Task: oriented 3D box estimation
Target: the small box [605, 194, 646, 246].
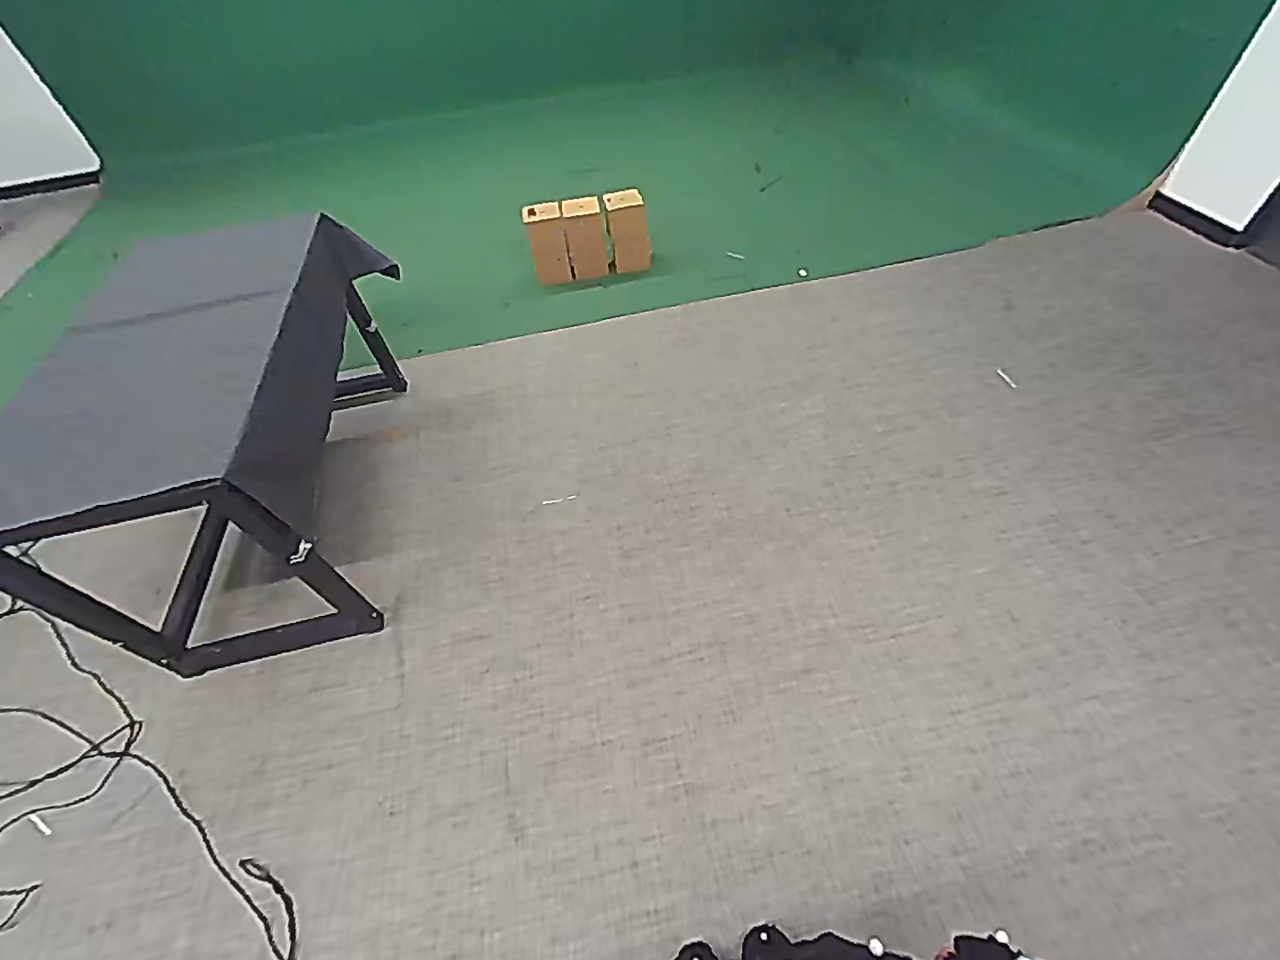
[{"bbox_3d":[-0.068,-1.267,2.636,0.179,0.176,0.168,-11,50,-5],"label":"small box"}]
